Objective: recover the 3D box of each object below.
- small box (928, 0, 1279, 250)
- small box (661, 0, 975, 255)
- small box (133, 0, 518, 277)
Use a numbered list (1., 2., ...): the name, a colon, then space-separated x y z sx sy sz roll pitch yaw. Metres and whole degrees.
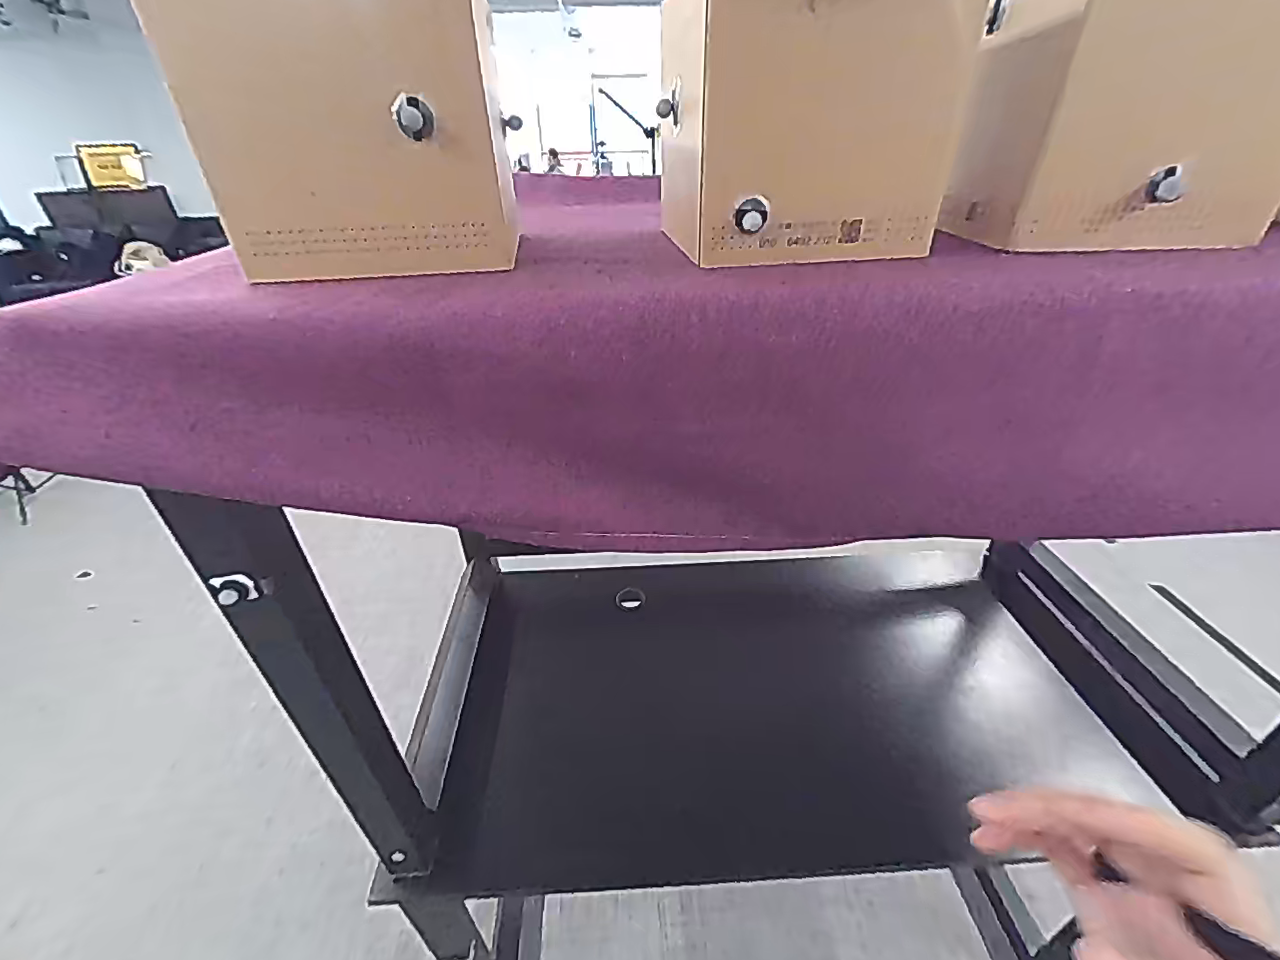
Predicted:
1. small box: 0.341 -0.273 0.397 0.179 0.176 0.168 0 32 1
2. small box: 0.109 -0.265 0.395 0.168 0.176 0.179 -4 32 -5
3. small box: -0.186 -0.250 0.384 0.179 0.176 0.168 -5 33 -6
